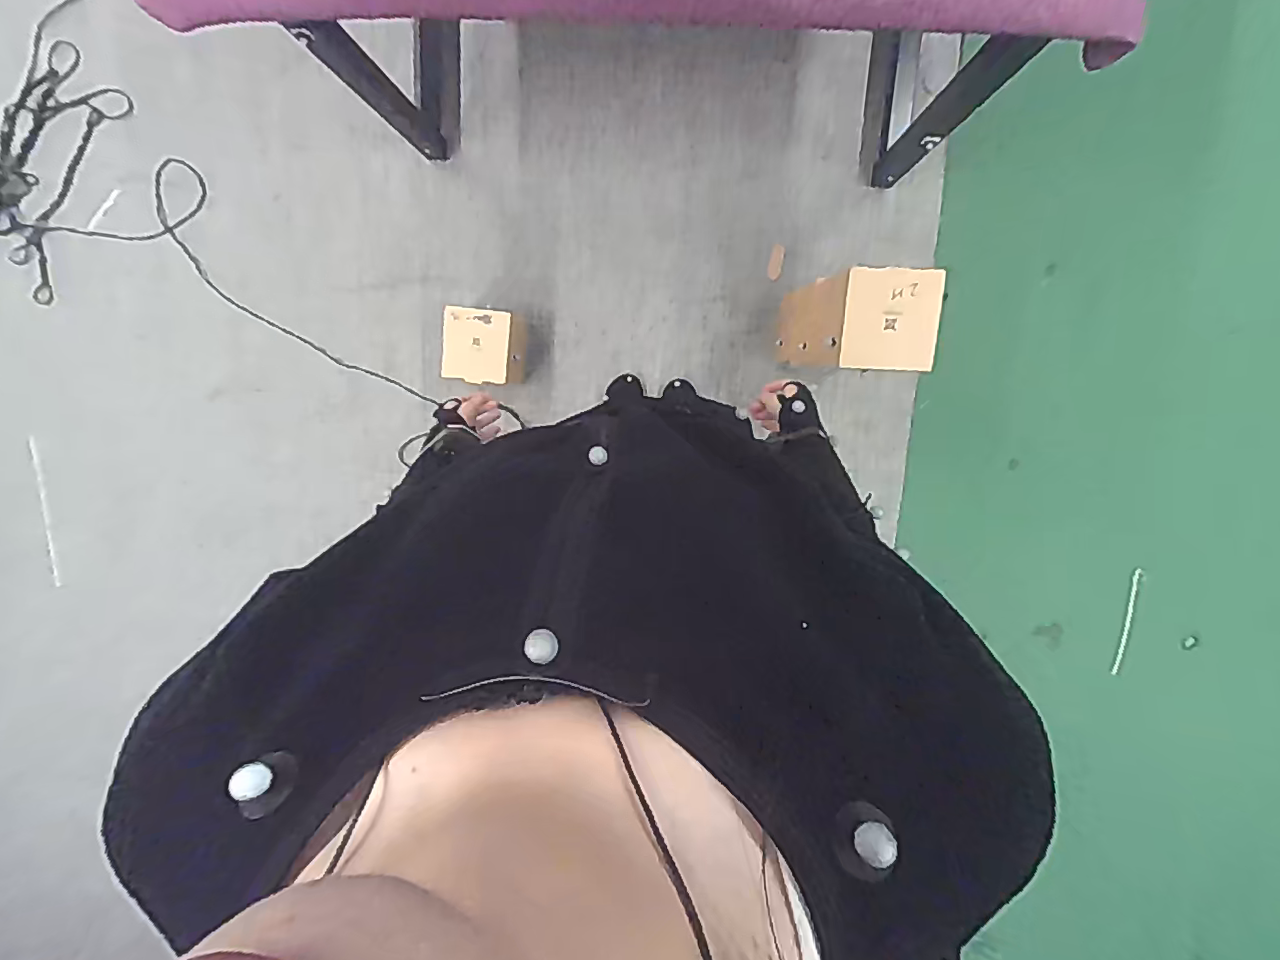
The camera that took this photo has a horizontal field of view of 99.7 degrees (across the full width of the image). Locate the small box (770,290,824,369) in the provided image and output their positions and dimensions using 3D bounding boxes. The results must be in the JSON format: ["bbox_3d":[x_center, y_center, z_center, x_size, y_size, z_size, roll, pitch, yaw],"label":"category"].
[{"bbox_3d":[0.432,-0.367,1.347,0.179,0.176,0.168,5,100,1],"label":"small box"}]

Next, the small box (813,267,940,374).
[{"bbox_3d":[0.436,-0.296,1.028,0.168,0.176,0.179,3,101,2],"label":"small box"}]

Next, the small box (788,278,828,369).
[{"bbox_3d":[0.430,-0.336,1.188,0.168,0.176,0.179,2,101,2],"label":"small box"}]

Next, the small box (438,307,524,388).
[{"bbox_3d":[-0.404,-0.336,1.390,0.168,0.176,0.179,7,101,1],"label":"small box"}]
